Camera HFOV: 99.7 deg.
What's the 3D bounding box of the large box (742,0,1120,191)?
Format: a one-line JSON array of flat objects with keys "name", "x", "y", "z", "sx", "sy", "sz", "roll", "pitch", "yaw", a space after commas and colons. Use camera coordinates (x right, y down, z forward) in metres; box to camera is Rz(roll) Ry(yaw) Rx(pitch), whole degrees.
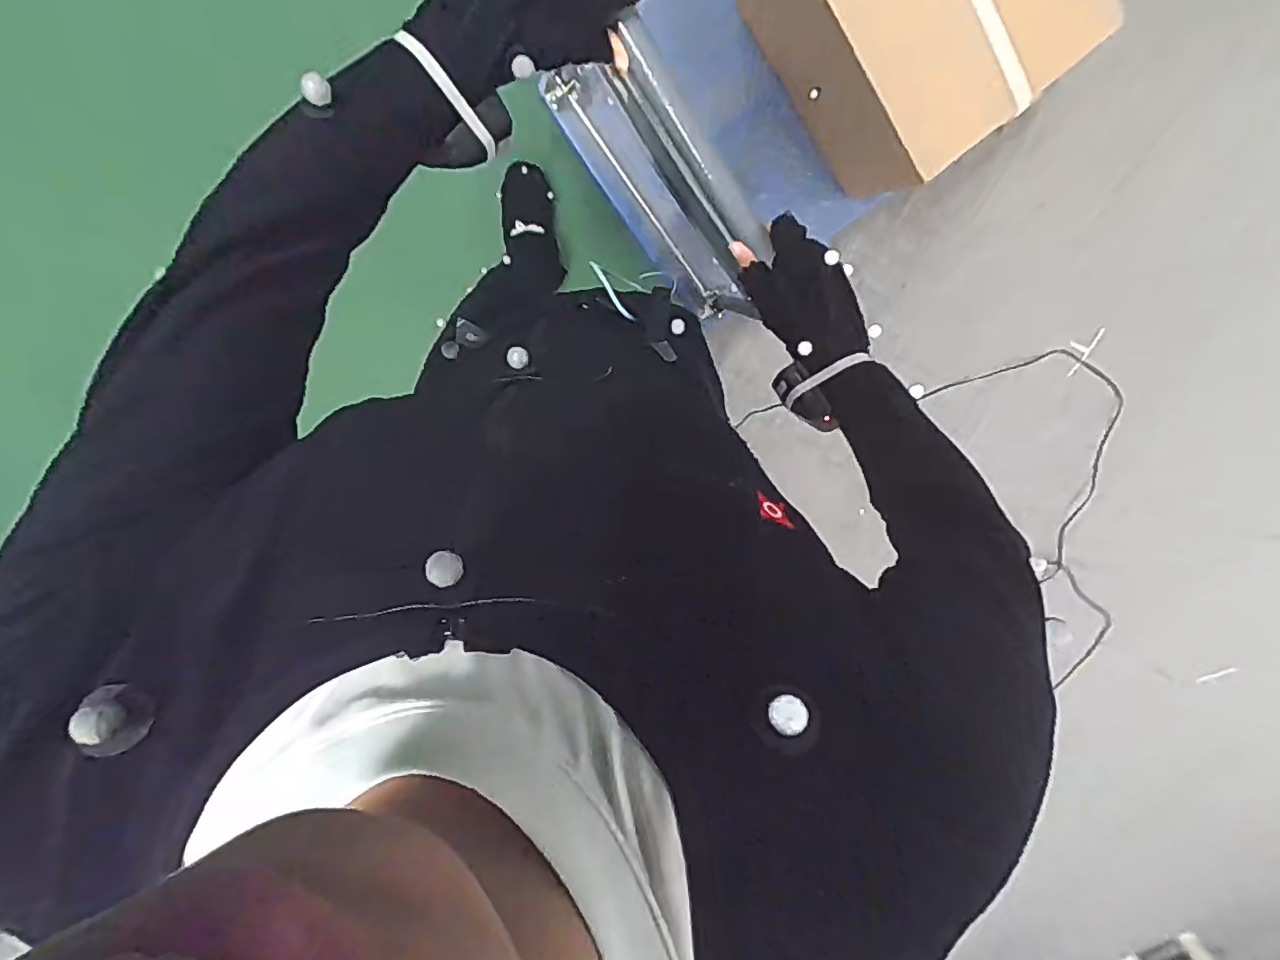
[{"name": "large box", "x": 0.421, "y": -0.746, "z": 0.858, "sx": 0.320, "sy": 0.320, "sz": 0.408, "roll": -37, "pitch": 109, "yaw": 13}]
